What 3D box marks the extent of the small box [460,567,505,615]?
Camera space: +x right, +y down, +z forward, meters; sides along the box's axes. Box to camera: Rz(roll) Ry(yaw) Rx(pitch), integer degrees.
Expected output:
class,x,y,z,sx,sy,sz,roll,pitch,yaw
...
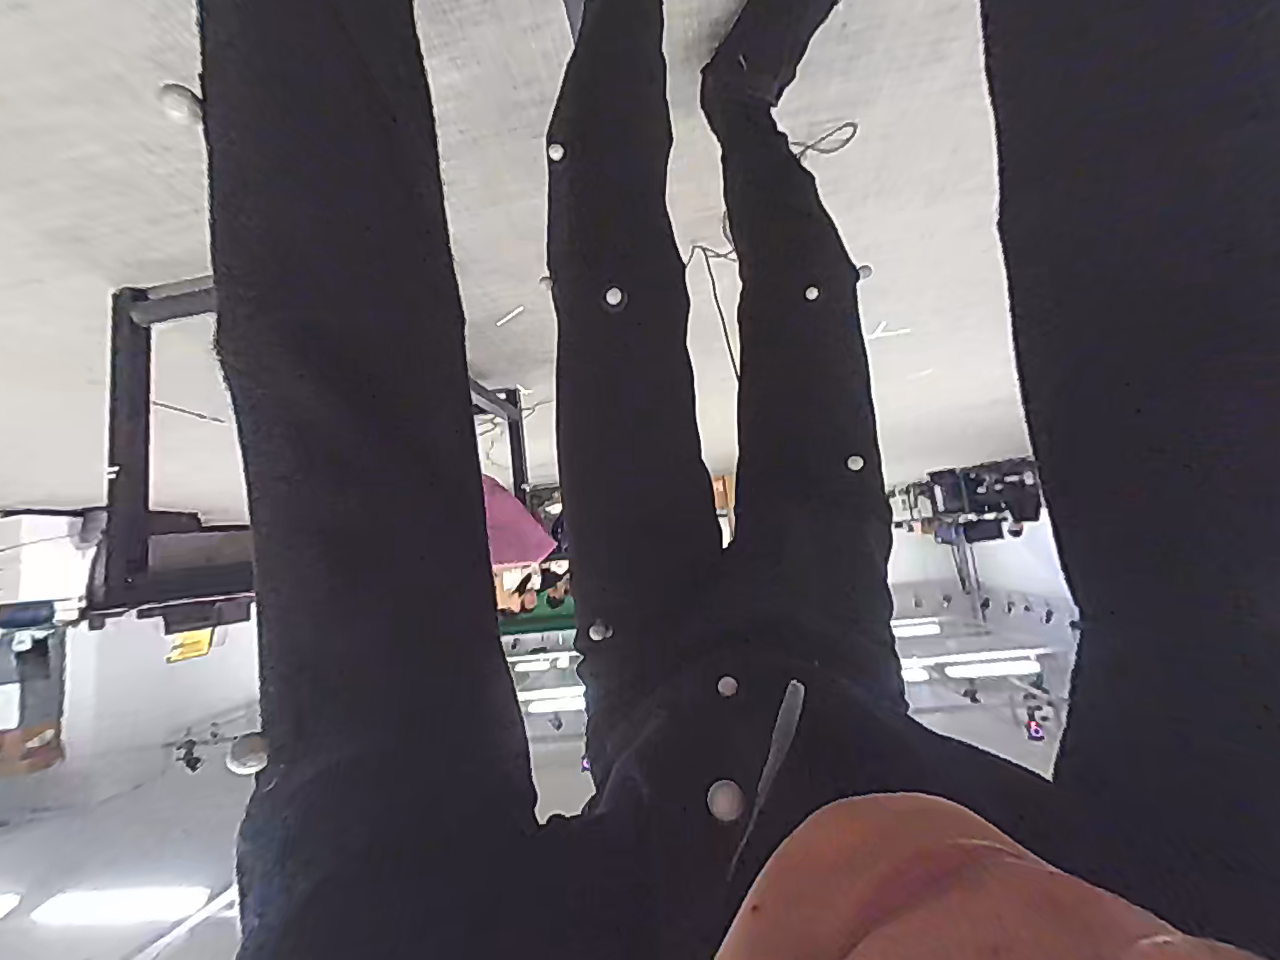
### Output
class,x,y,z,sx,sy,sz,roll,pitch,yaw
small box,-0.642,0.433,2.106,0.179,0.176,0.168,-8,172,10
